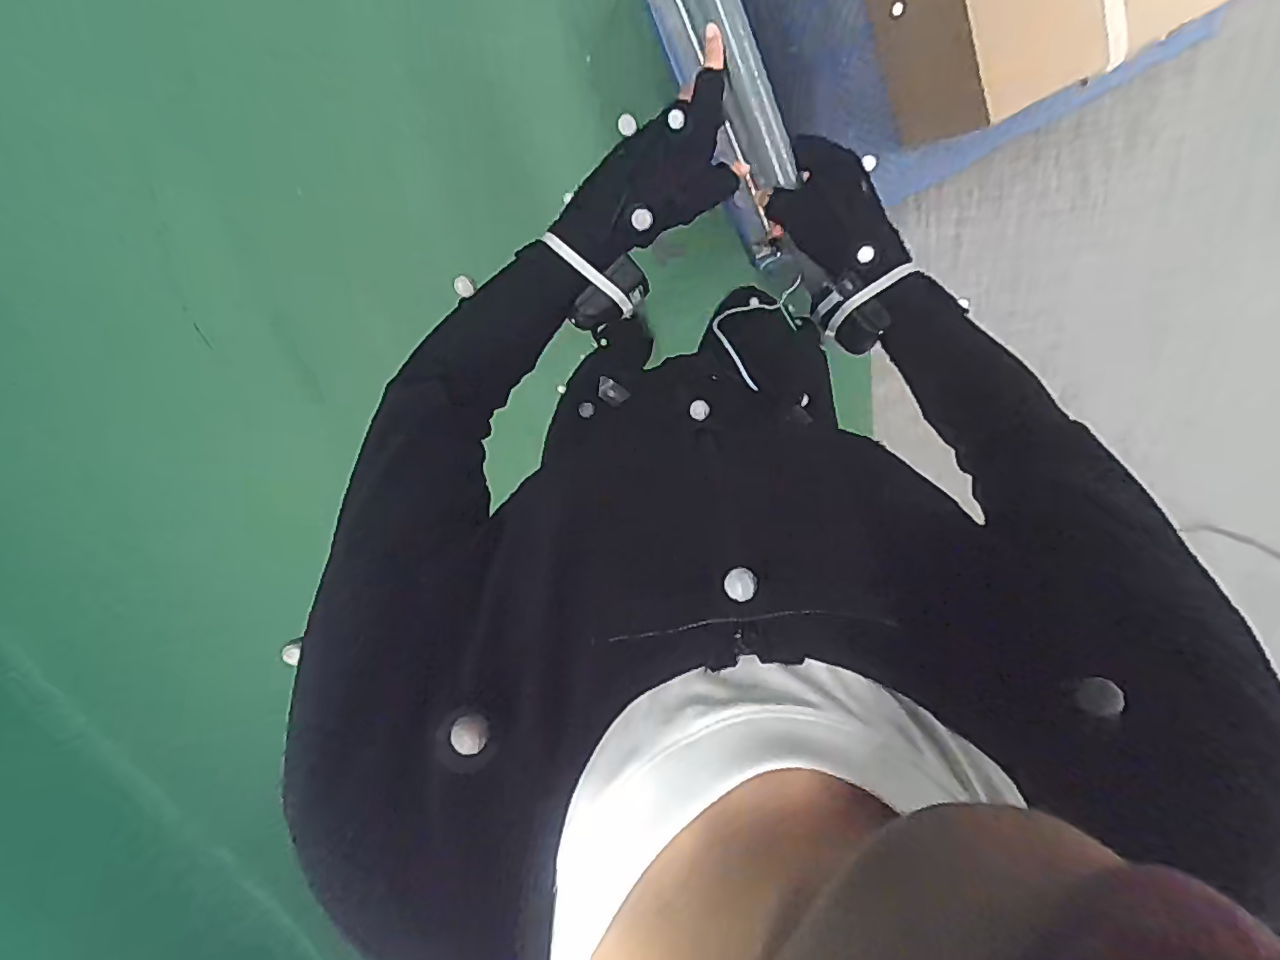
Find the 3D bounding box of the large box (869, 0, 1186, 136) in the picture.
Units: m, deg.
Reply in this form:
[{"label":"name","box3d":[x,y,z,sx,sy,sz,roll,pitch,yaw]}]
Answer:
[{"label":"large box","box3d":[0.534,-0.797,0.774,0.320,0.320,0.408,-24,112,14]}]
